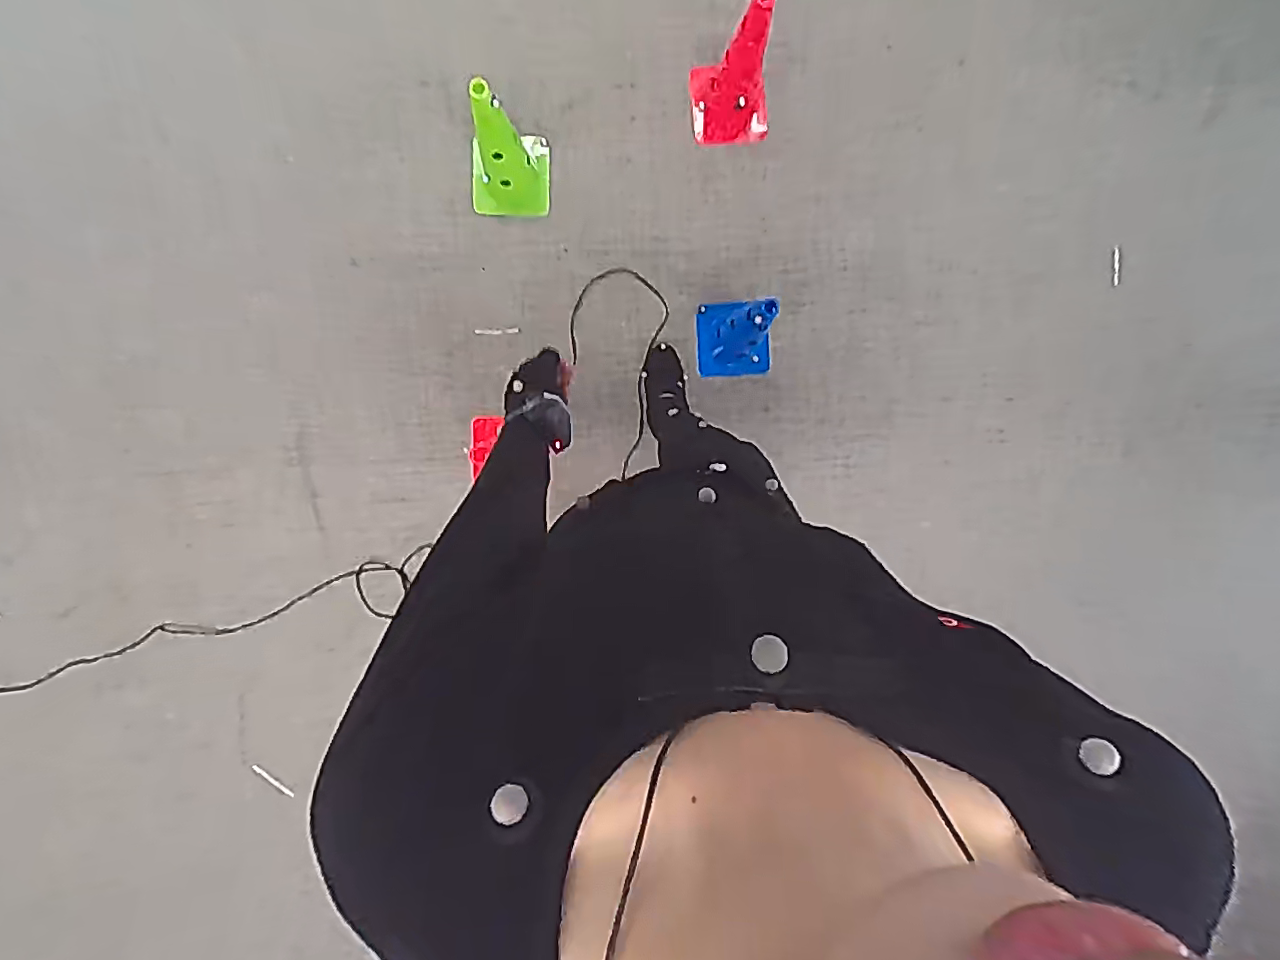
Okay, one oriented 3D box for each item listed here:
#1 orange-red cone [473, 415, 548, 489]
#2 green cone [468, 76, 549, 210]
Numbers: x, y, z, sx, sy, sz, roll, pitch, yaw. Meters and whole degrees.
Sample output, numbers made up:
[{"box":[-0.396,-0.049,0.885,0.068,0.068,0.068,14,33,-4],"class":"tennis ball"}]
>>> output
[{"box":[-0.341,-0.069,1.296,0.198,0.360,0.199,2,92,-4],"class":"orange-red cone"},{"box":[-0.333,-0.799,1.245,0.200,0.368,0.202,-1,95,-2],"class":"green cone"}]
